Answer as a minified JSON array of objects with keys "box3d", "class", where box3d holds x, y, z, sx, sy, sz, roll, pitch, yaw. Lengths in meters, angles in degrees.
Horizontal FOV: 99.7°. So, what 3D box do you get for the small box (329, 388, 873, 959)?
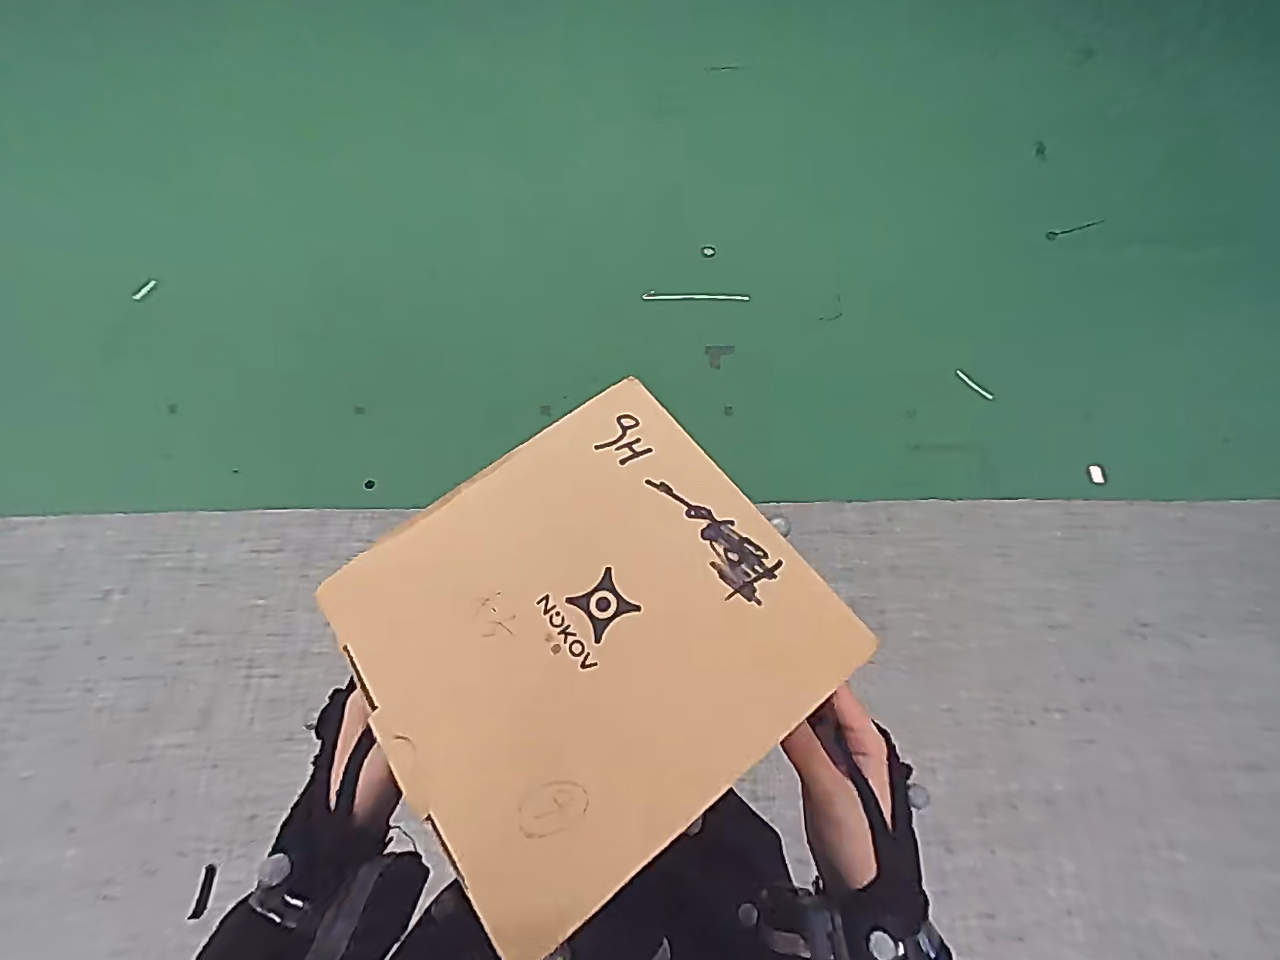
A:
[{"box3d":[-0.016,0.092,0.297,0.179,0.176,0.168,-36,69,-12],"class":"small box"}]
